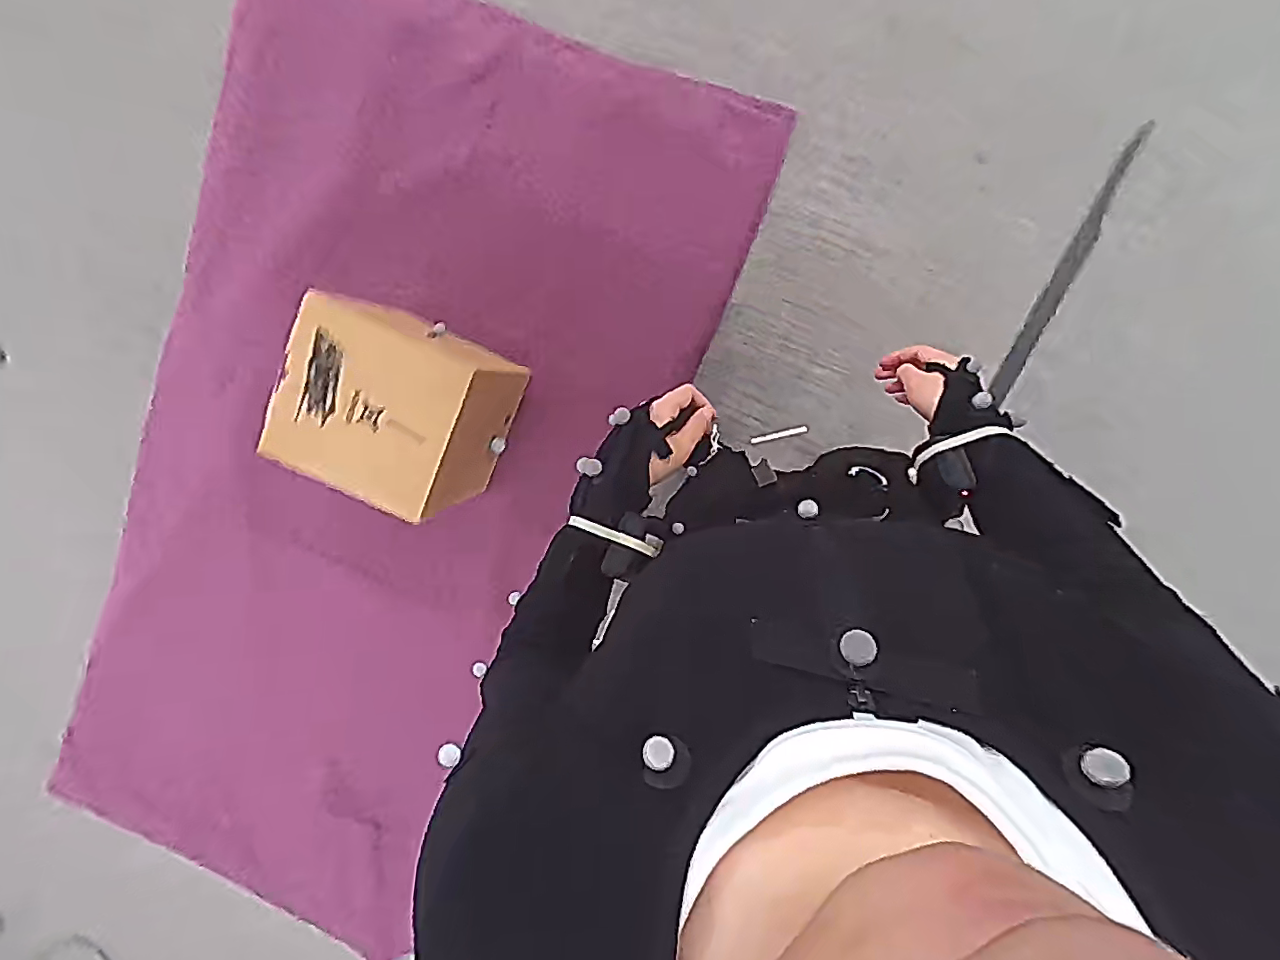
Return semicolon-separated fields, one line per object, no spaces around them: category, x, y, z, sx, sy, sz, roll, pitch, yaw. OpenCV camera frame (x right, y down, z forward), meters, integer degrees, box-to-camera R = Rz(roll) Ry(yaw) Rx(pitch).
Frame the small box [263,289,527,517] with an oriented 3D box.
small box;-0.250;-0.082;0.589;0.179;0.176;0.168;25;102;1
